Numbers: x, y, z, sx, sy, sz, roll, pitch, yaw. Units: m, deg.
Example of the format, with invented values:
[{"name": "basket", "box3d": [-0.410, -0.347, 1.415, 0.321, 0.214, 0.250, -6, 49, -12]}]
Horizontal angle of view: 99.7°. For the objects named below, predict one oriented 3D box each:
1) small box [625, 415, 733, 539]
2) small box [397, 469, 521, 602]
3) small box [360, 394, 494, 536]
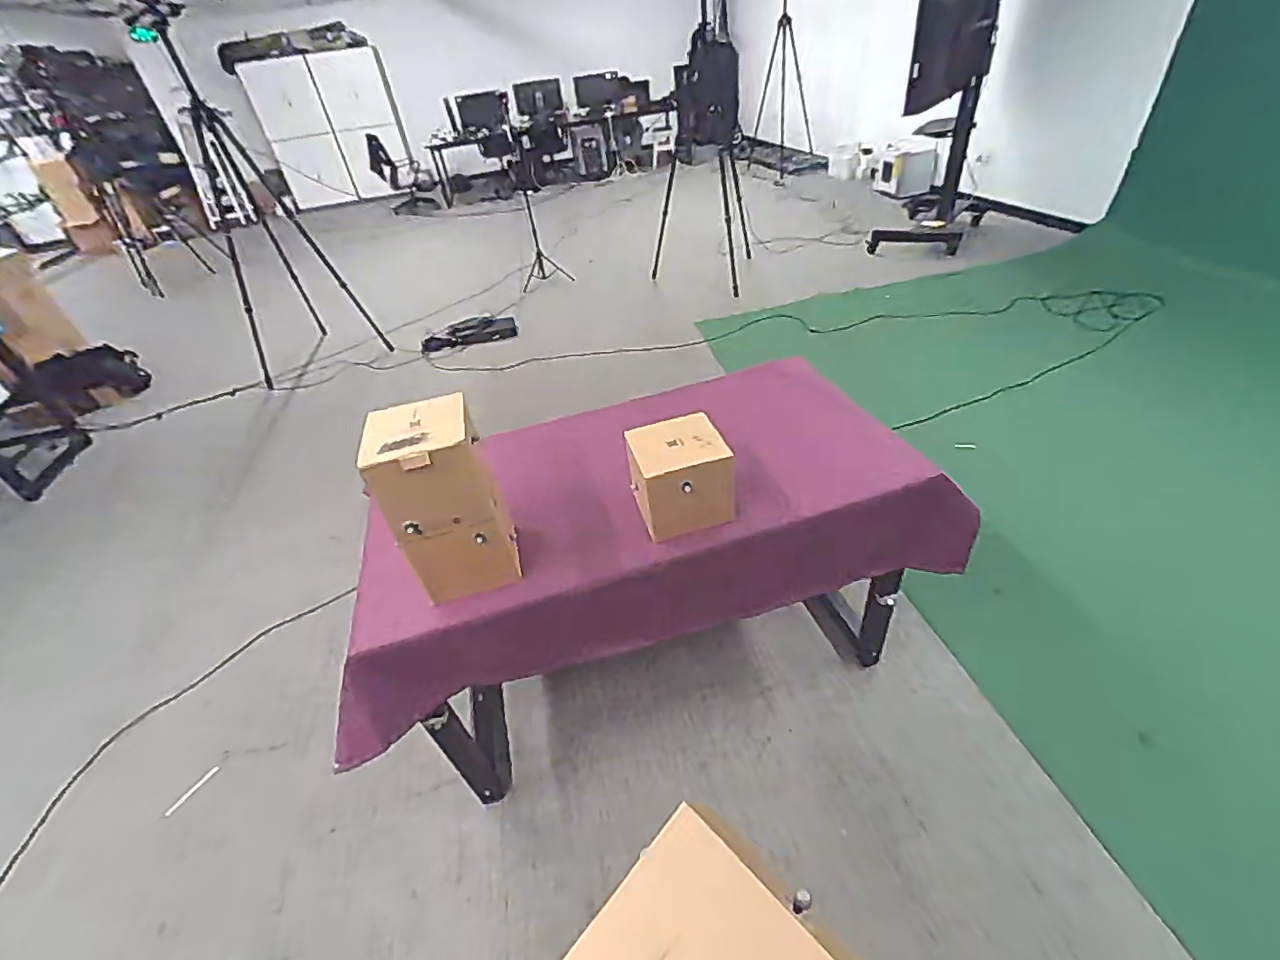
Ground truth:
[{"name": "small box", "box3d": [0.082, -0.004, 1.096, 0.179, 0.176, 0.168, -14, 40, -7]}, {"name": "small box", "box3d": [-0.341, 0.108, 1.037, 0.179, 0.176, 0.168, -14, 39, -9]}, {"name": "small box", "box3d": [-0.358, -0.021, 0.937, 0.168, 0.176, 0.179, -15, 38, -9]}]
